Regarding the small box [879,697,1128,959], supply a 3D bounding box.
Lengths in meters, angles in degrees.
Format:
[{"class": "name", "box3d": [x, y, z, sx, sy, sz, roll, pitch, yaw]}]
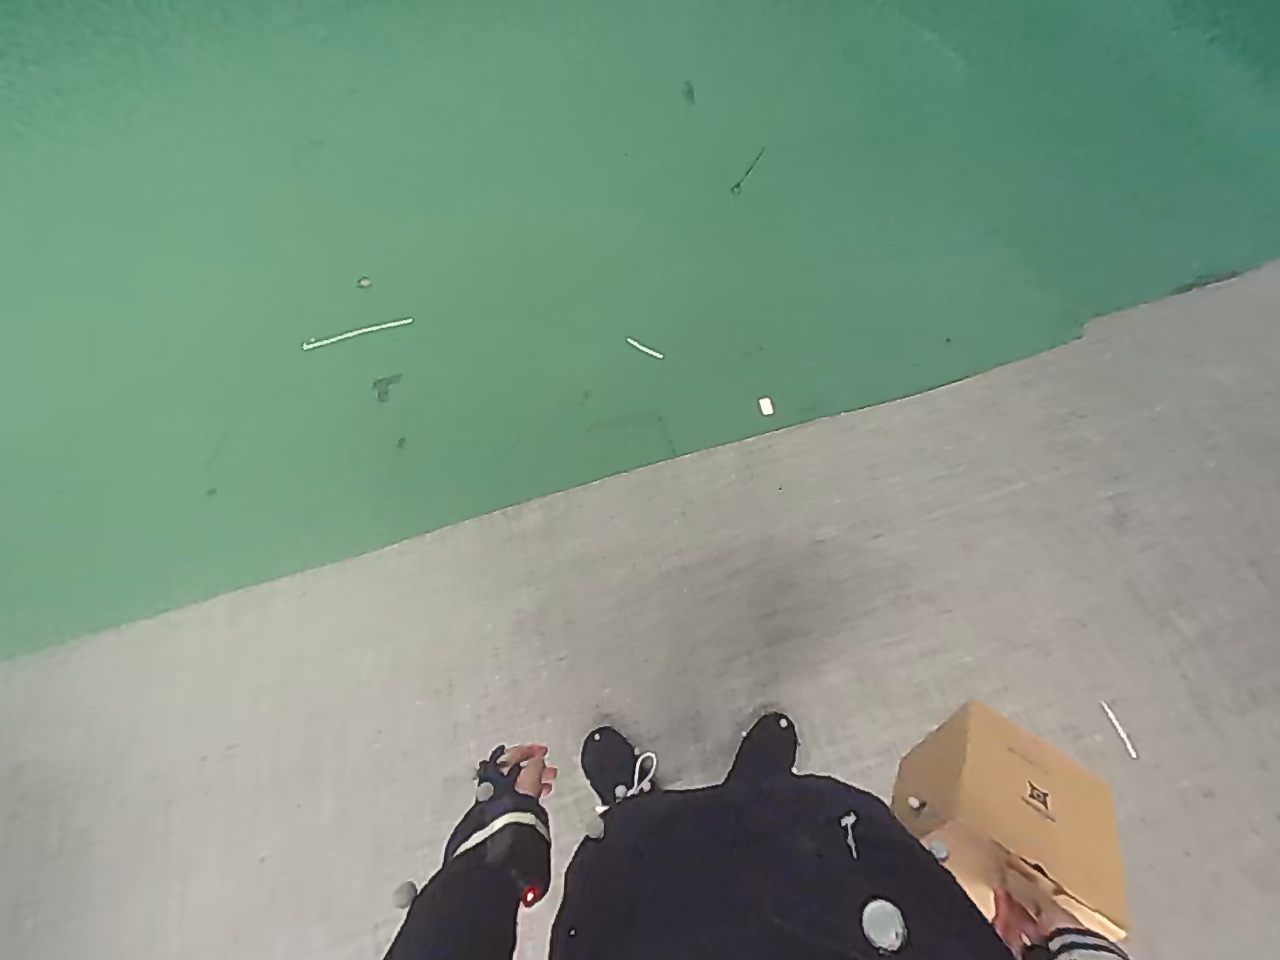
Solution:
[{"class": "small box", "box3d": [0.406, 0.404, 0.628, 0.168, 0.176, 0.179, 34, 37, 17]}]
